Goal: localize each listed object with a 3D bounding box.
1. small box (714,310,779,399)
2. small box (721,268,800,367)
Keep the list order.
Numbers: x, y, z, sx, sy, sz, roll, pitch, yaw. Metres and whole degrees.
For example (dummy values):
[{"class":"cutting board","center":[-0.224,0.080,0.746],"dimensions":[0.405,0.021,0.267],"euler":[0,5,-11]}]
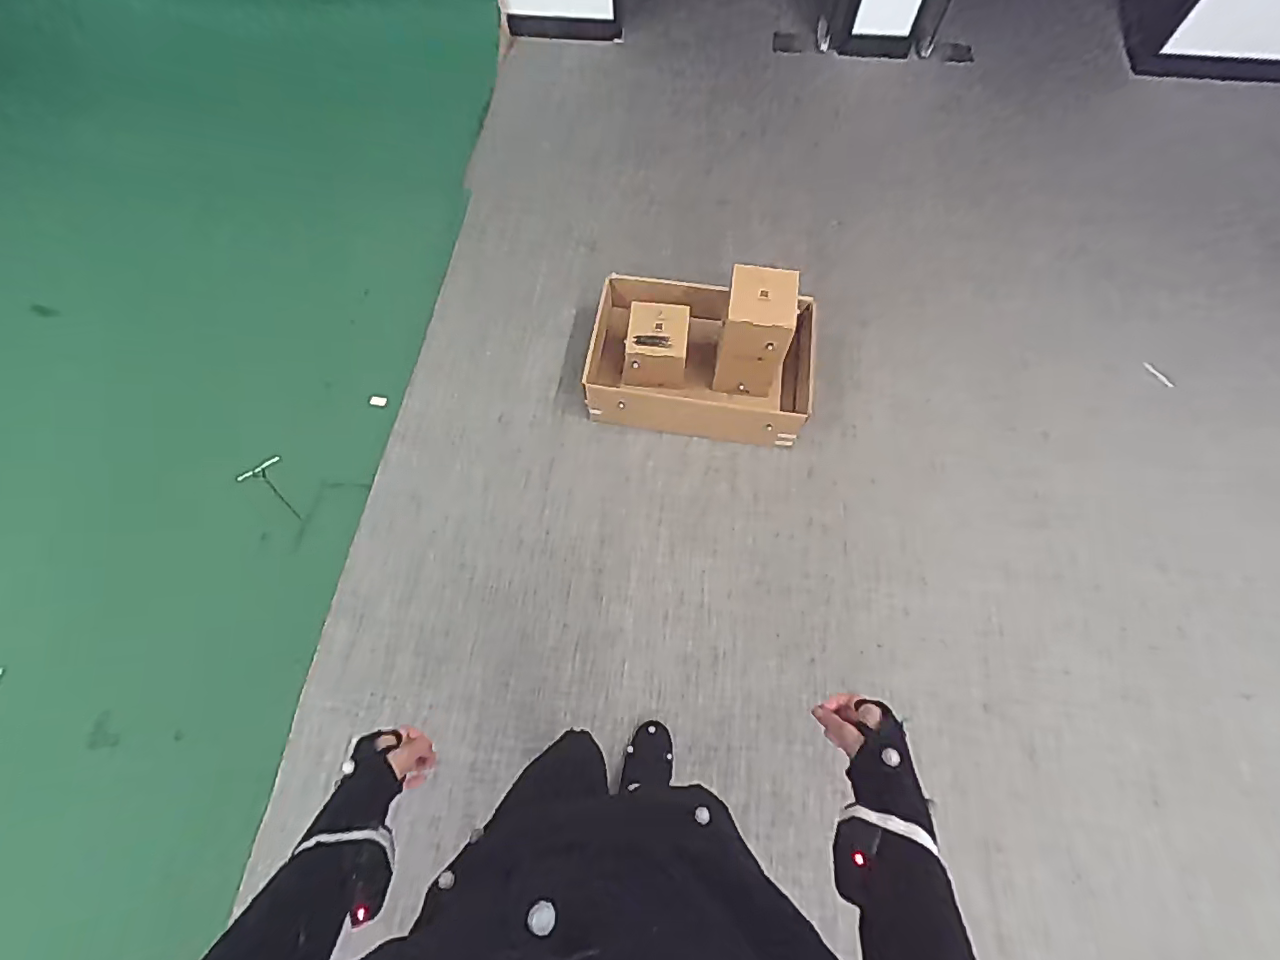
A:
[{"class":"small box","center":[0.307,-0.357,1.550],"dimensions":[0.168,0.176,0.179],"euler":[8,69,6]},{"class":"small box","center":[0.307,-0.415,1.398],"dimensions":[0.168,0.176,0.179],"euler":[9,68,4]}]
